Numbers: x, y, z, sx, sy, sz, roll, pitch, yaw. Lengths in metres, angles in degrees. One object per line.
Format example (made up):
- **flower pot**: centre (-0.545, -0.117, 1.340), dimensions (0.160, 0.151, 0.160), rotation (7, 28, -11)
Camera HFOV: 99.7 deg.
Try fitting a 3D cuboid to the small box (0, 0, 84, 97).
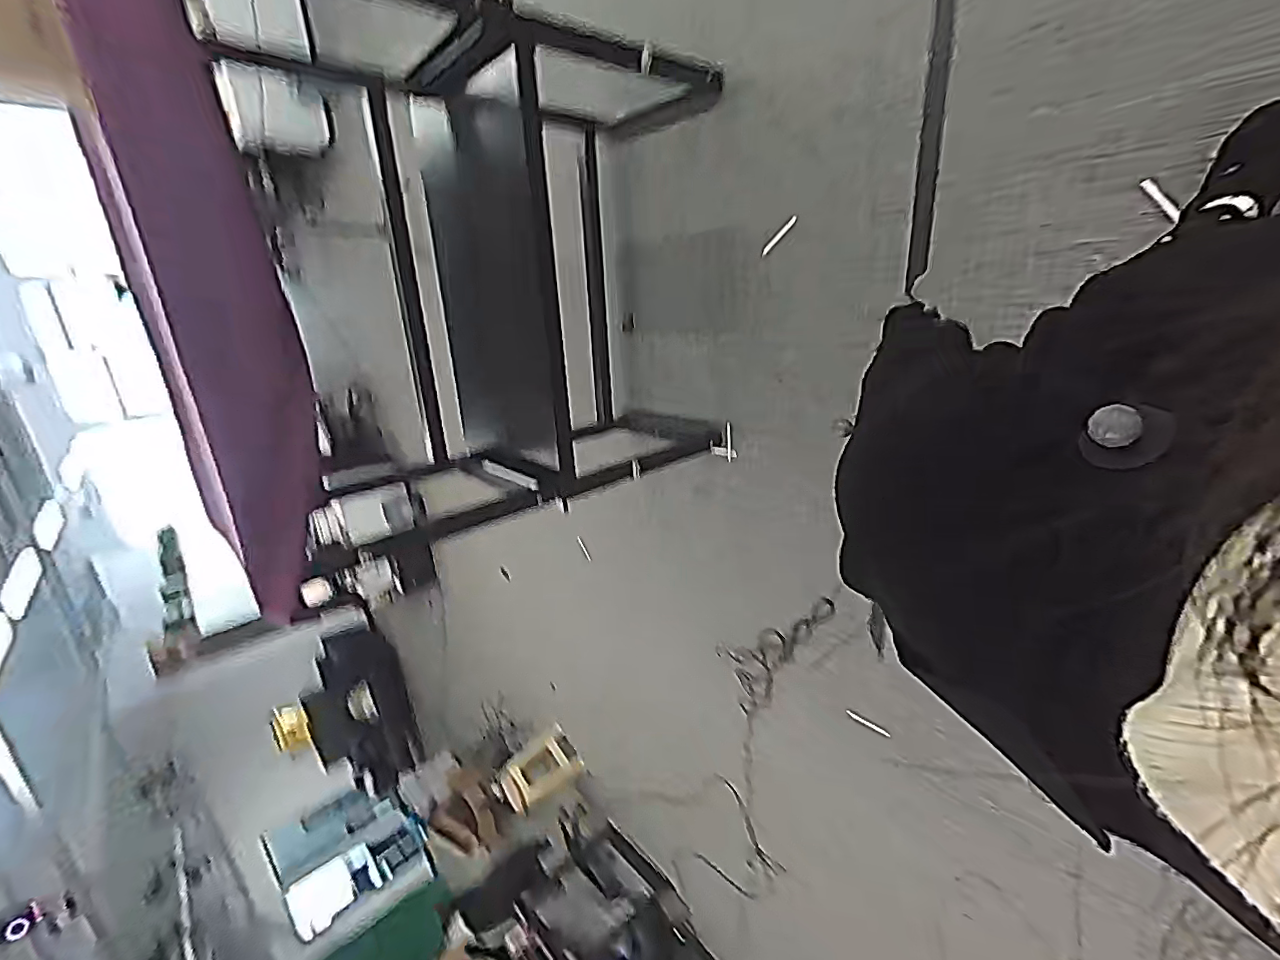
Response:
- **small box**: centre (-0.982, -0.711, 0.814), dimensions (0.168, 0.176, 0.179), rotation (21, 121, 45)
